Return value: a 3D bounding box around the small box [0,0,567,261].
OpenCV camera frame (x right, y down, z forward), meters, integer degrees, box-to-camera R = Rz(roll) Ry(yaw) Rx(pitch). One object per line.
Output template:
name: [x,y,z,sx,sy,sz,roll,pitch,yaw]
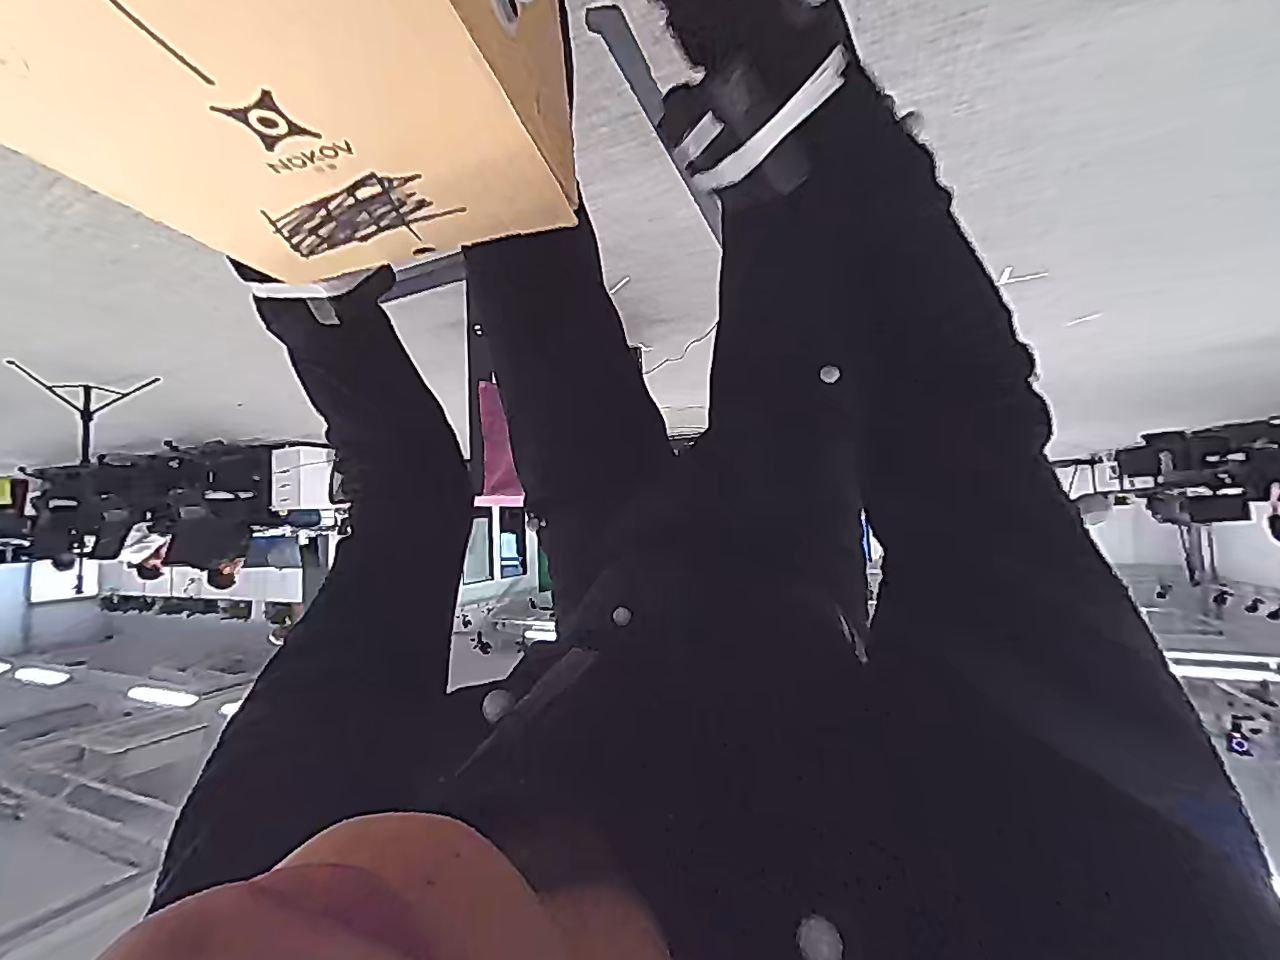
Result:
small box: [-0.136,-0.210,0.197,0.168,0.176,0.179,-7,176,11]
